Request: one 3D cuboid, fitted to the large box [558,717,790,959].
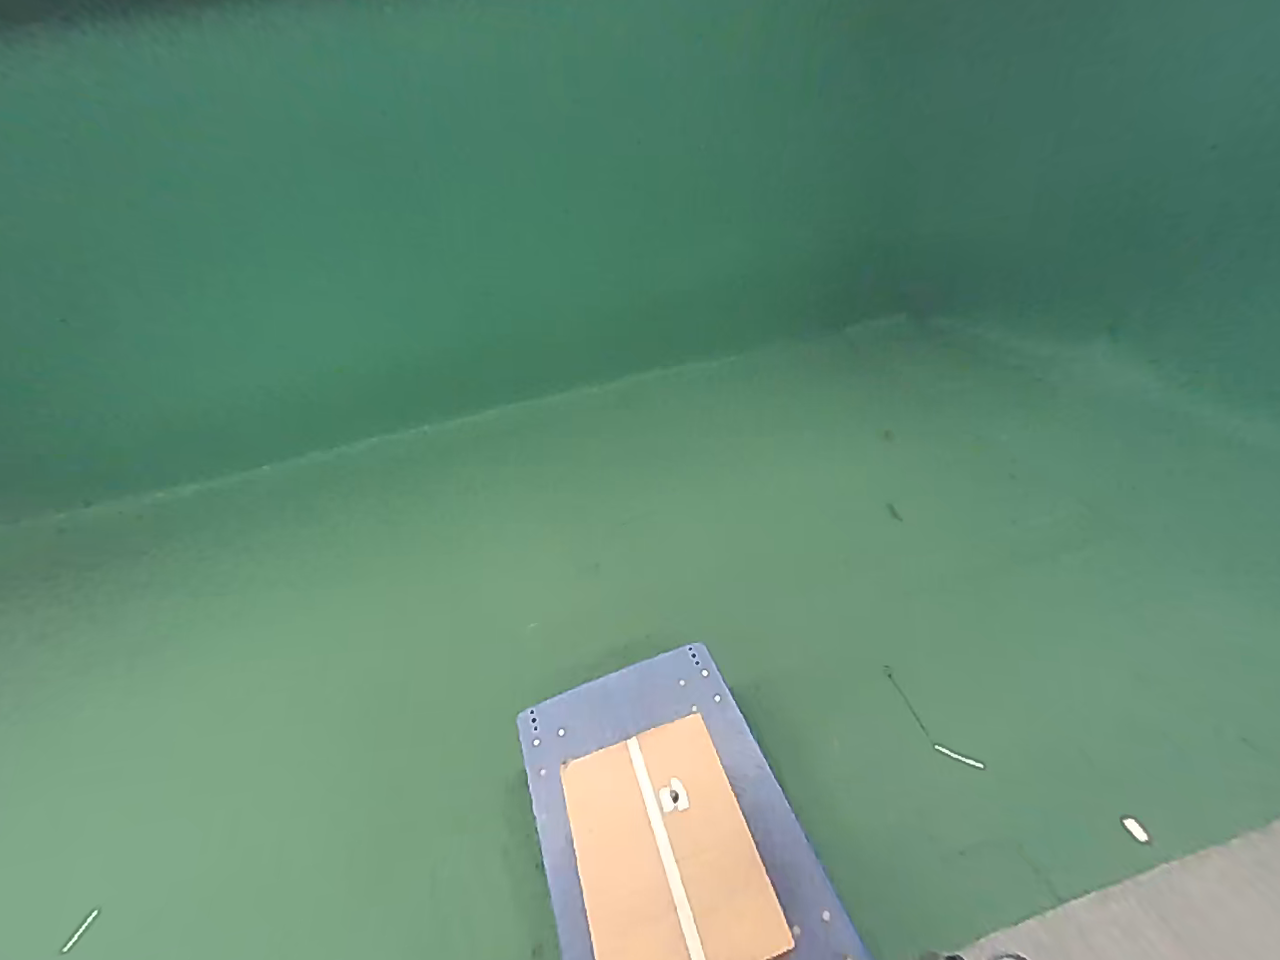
[{"bbox_3d":[0.057,0.775,1.076,0.320,0.320,0.408,-16,42,-9],"label":"large box"}]
